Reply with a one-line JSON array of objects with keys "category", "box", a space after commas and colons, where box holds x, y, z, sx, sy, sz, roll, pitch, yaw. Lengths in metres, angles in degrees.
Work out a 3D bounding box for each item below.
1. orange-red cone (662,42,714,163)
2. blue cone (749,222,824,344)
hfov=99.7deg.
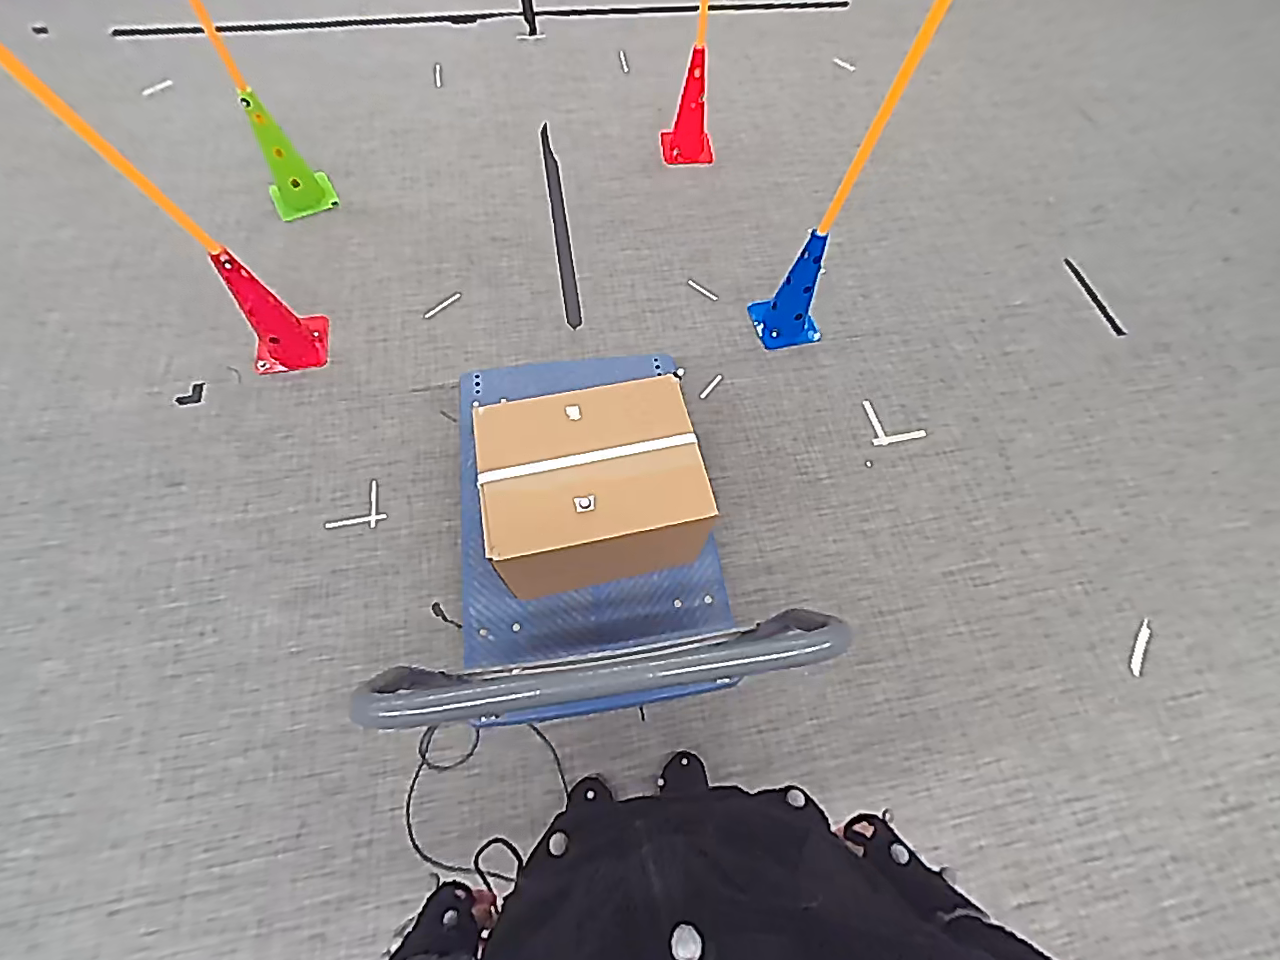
[{"category": "orange-red cone", "box": [0.199, -1.397, 1.986, 0.199, 0.360, 0.198, -2, 65, -5]}, {"category": "blue cone", "box": [0.482, -0.603, 1.642, 0.193, 0.380, 0.192, -11, 65, -9]}]
